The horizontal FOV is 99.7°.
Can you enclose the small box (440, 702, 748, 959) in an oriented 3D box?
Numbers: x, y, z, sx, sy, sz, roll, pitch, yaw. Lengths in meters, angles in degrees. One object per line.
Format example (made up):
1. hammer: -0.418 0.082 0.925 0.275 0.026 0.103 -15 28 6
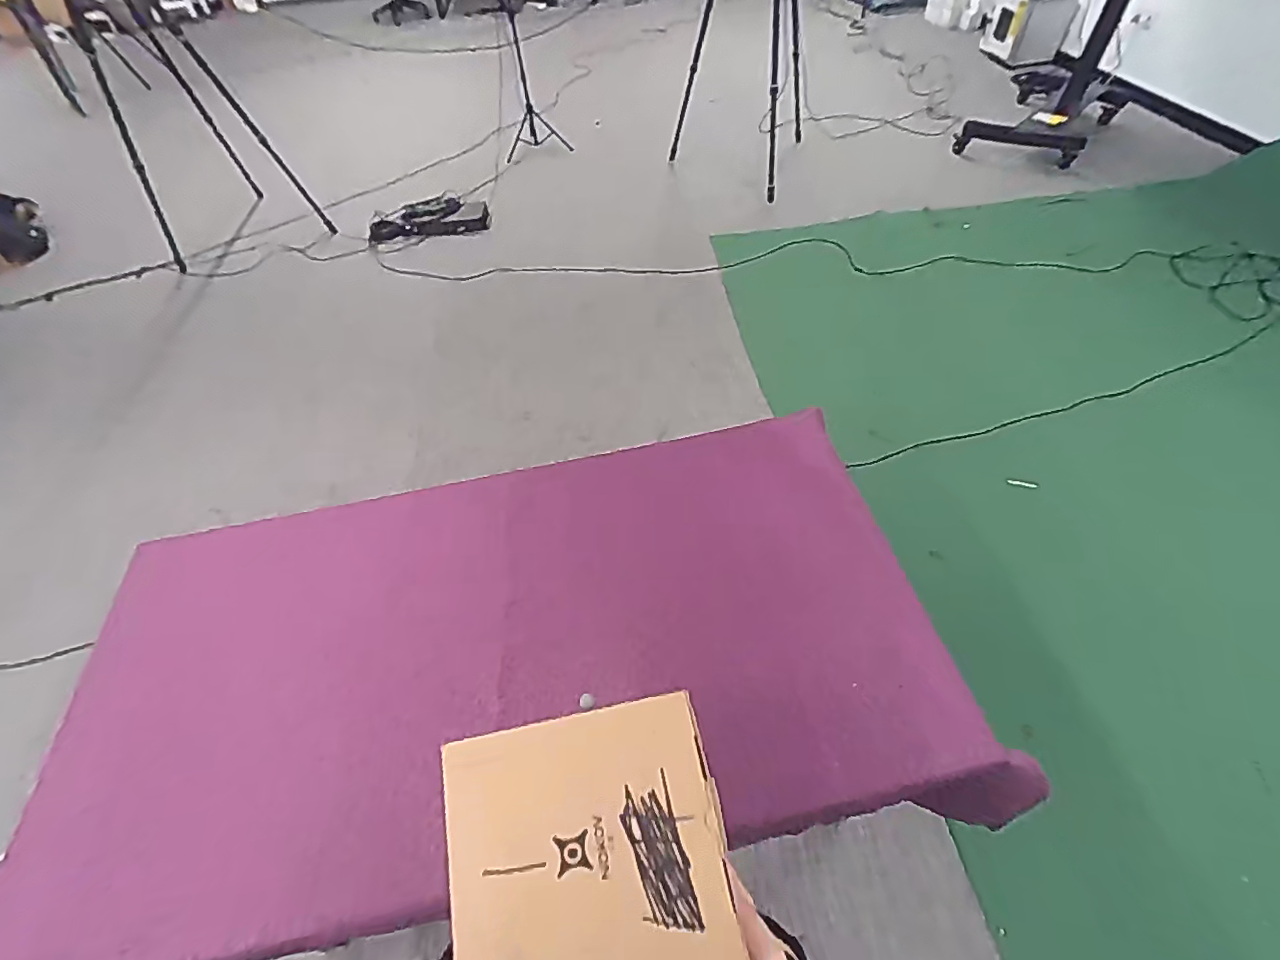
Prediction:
1. small box: -0.036 0.272 0.413 0.179 0.176 0.168 -11 66 -5
